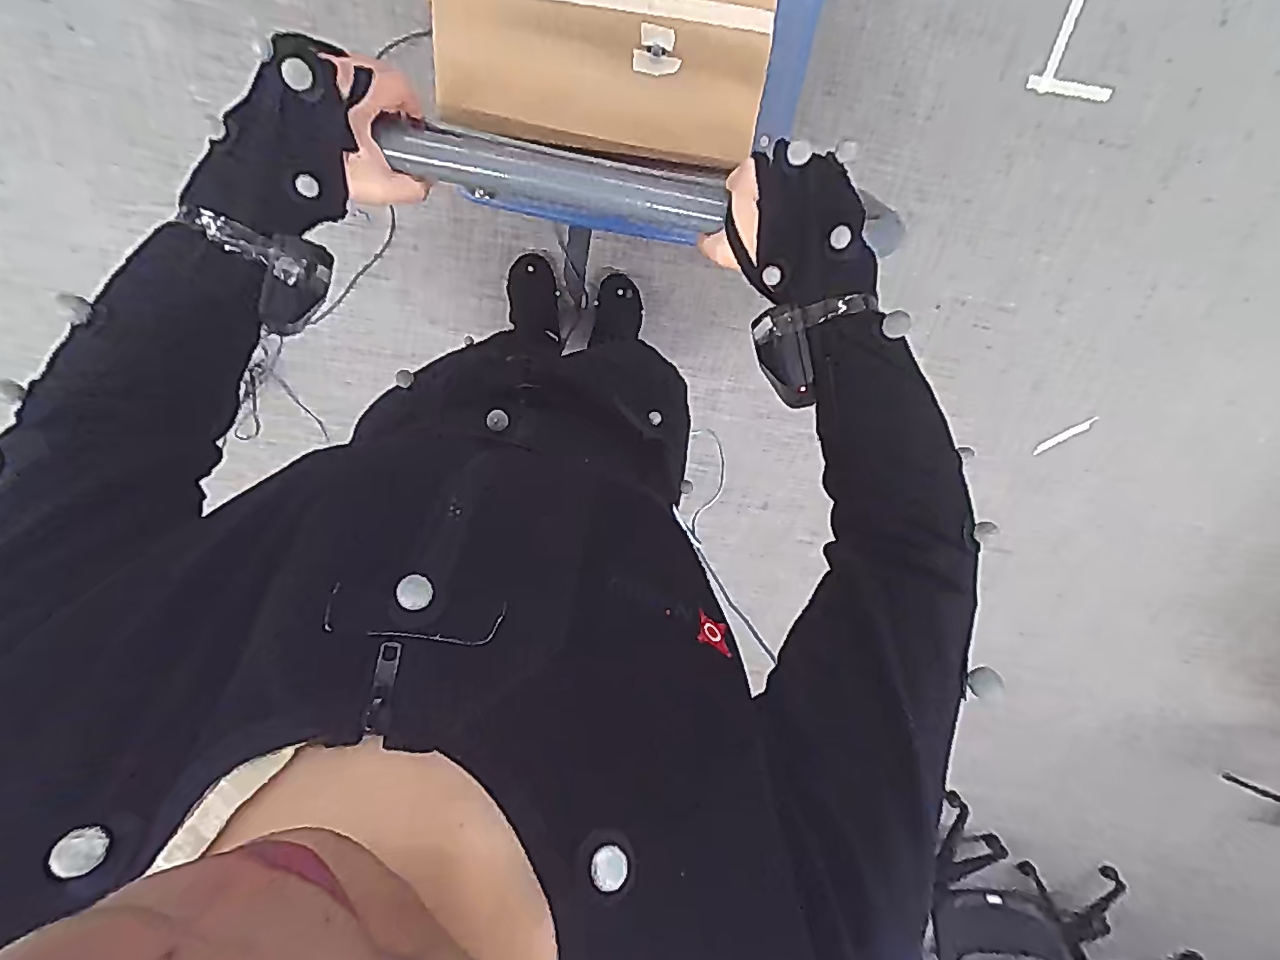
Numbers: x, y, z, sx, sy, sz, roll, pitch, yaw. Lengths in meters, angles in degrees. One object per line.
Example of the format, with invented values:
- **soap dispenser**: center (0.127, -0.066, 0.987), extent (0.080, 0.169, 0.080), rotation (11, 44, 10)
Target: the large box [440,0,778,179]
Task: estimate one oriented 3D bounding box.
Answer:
- **large box**: center (-0.042, -0.635, 0.769), extent (0.408, 0.320, 0.320), rotation (5, 117, -5)
